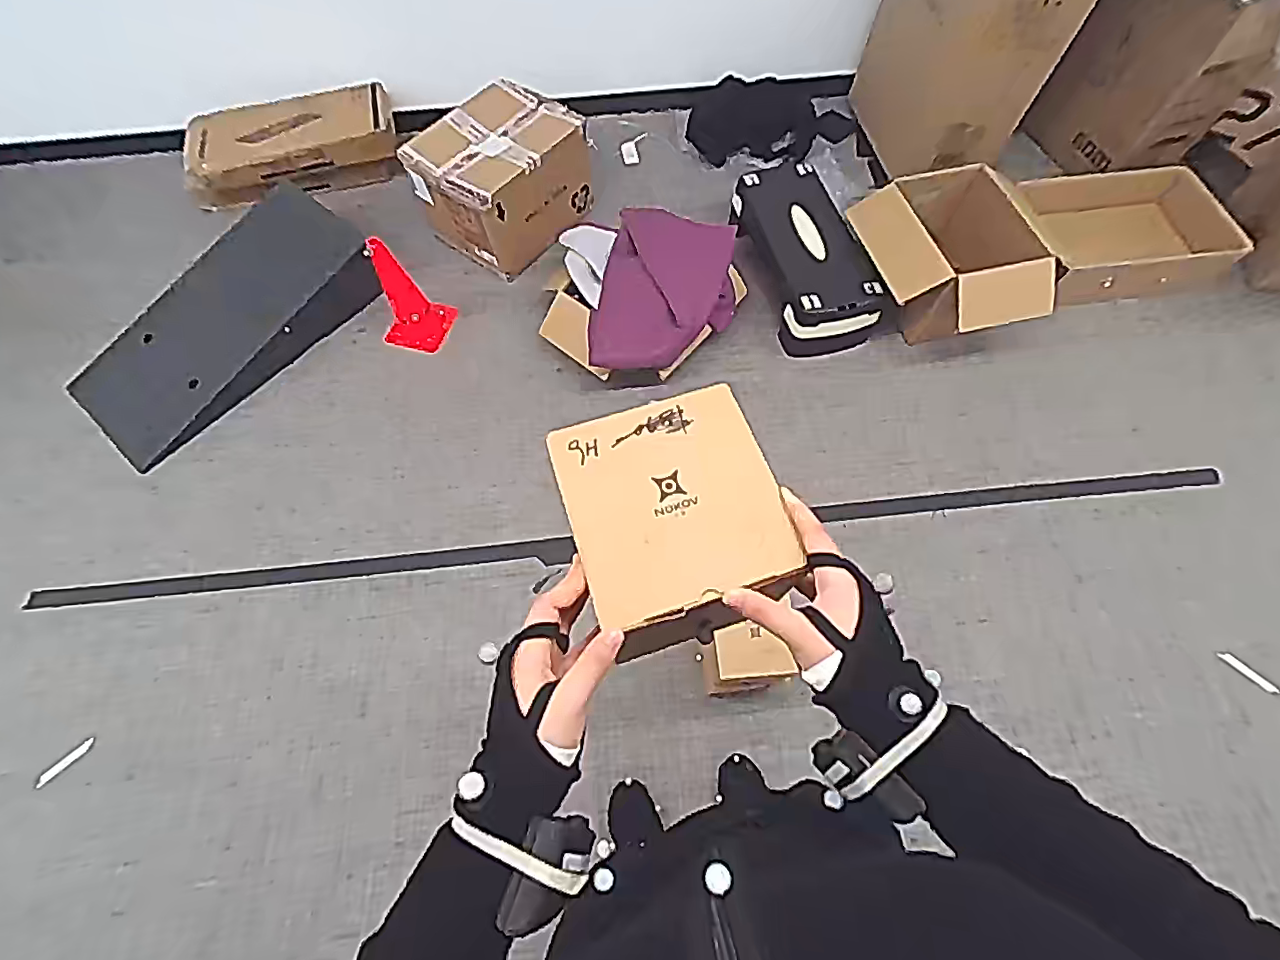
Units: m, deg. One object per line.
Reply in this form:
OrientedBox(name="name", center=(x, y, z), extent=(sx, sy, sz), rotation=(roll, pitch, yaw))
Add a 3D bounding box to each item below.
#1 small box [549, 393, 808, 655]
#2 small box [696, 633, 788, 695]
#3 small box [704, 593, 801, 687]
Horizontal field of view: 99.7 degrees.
OrientedBox(name="small box", center=(0.027, 0.053, 0.502), extent=(0.168, 0.176, 0.179), rotation=(-17, 68, -7))
OrientedBox(name="small box", center=(0.238, 0.421, 1.305), extent=(0.179, 0.176, 0.168), rotation=(-6, 65, -2))
OrientedBox(name="small box", center=(0.231, 0.342, 1.163), extent=(0.168, 0.176, 0.179), rotation=(-5, 66, 0))
